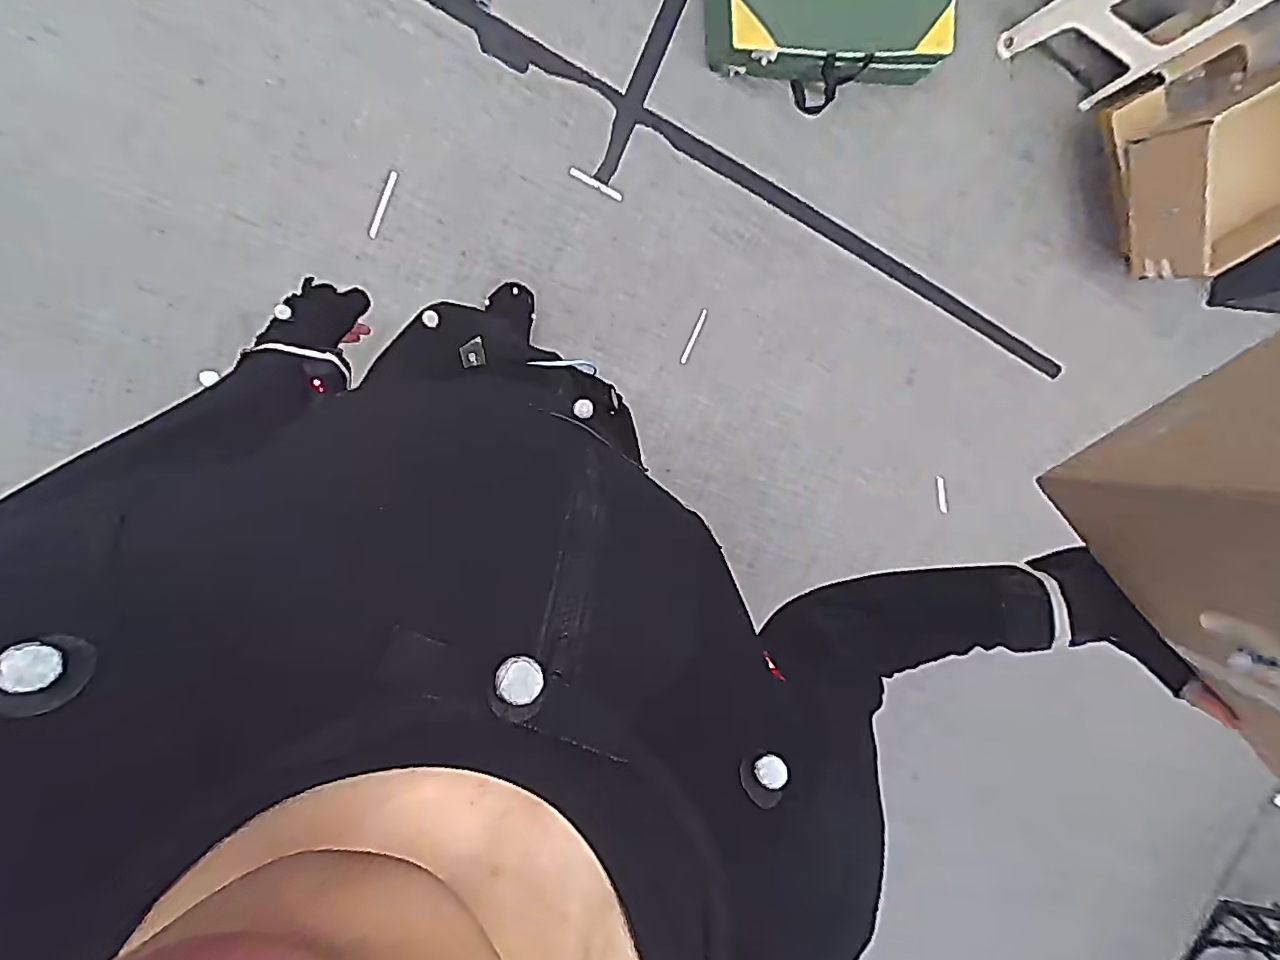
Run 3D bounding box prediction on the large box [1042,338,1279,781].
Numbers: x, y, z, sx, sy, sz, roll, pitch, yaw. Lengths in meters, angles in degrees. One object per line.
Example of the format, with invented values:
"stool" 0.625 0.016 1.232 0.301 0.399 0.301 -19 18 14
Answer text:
"large box" 0.465 0.050 0.199 0.320 0.408 0.320 -36 83 19
